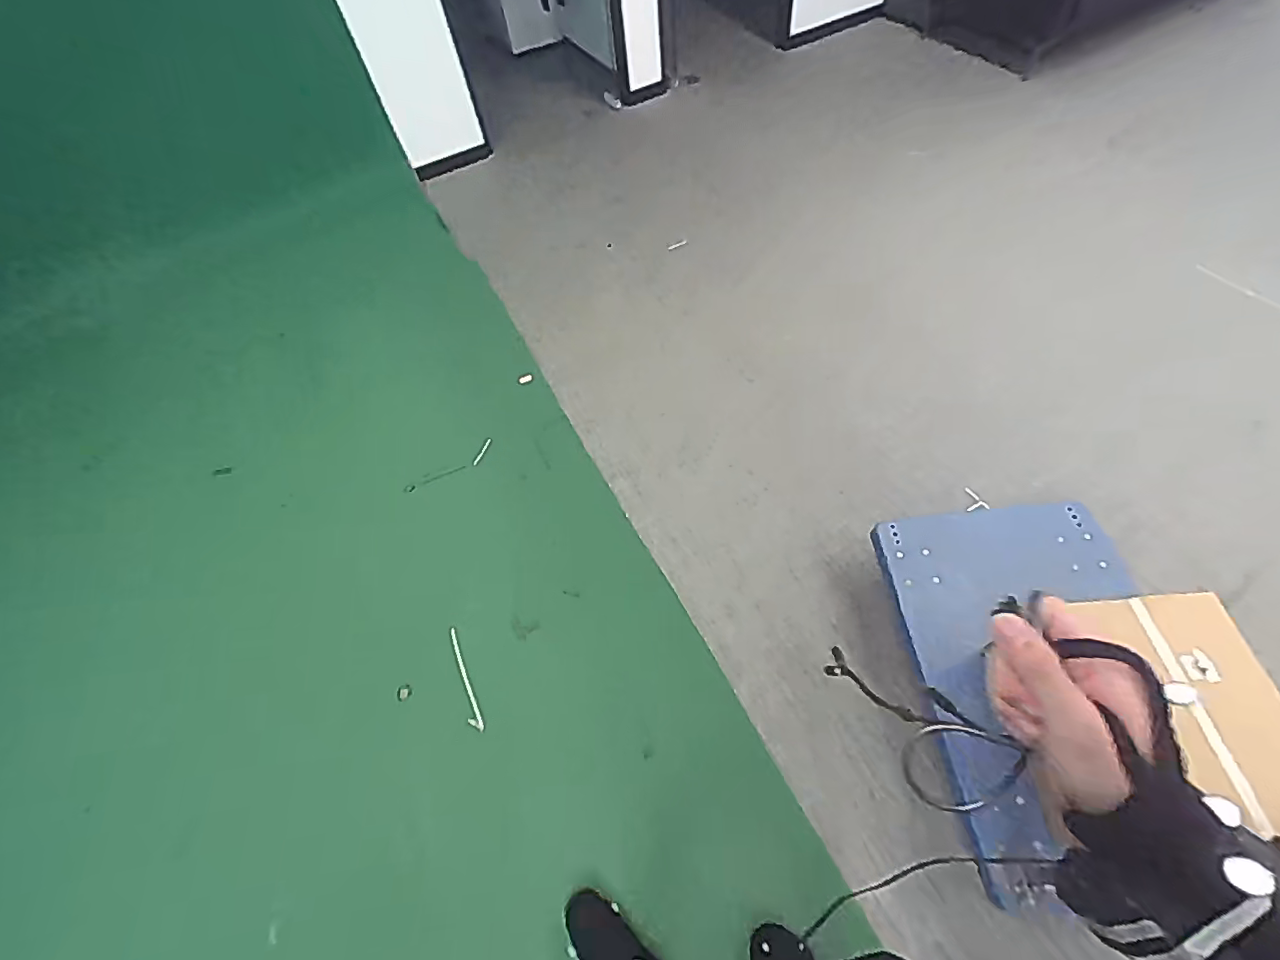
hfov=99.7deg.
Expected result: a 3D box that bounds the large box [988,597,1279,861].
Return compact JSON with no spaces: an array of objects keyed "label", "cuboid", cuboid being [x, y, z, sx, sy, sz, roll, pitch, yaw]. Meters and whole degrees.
[{"label":"large box","cuboid":[0.973,0.486,1.055,0.320,0.320,0.408,-5,56,3]}]
